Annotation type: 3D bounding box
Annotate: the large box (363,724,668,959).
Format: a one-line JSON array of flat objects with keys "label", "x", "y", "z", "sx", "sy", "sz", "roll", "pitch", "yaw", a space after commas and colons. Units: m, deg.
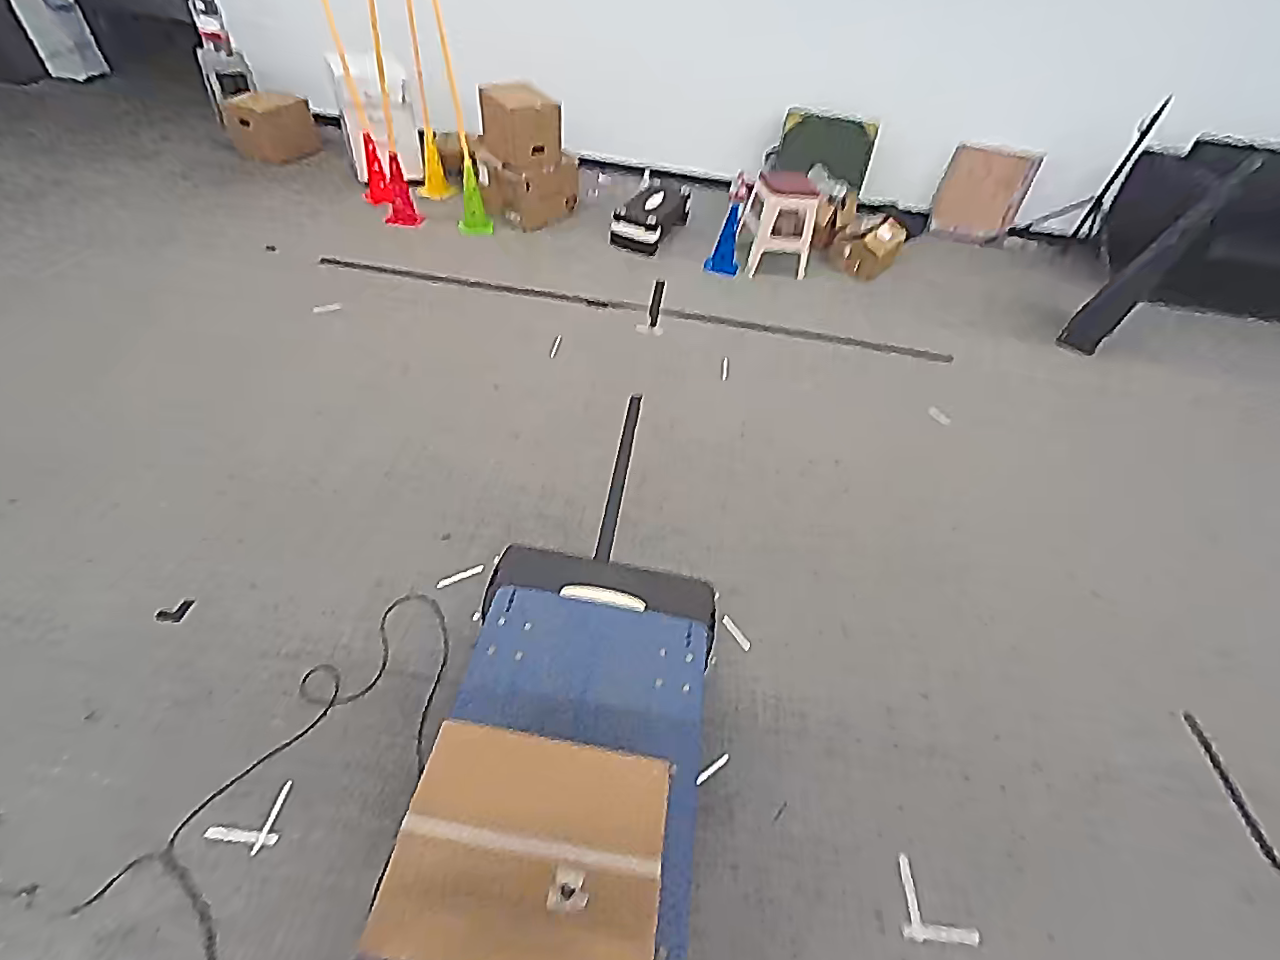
[{"label": "large box", "x": -0.185, "y": 0.665, "z": 0.940, "sx": 0.408, "sy": 0.320, "sz": 0.320, "roll": 11, "pitch": 47, "yaw": 0}]
